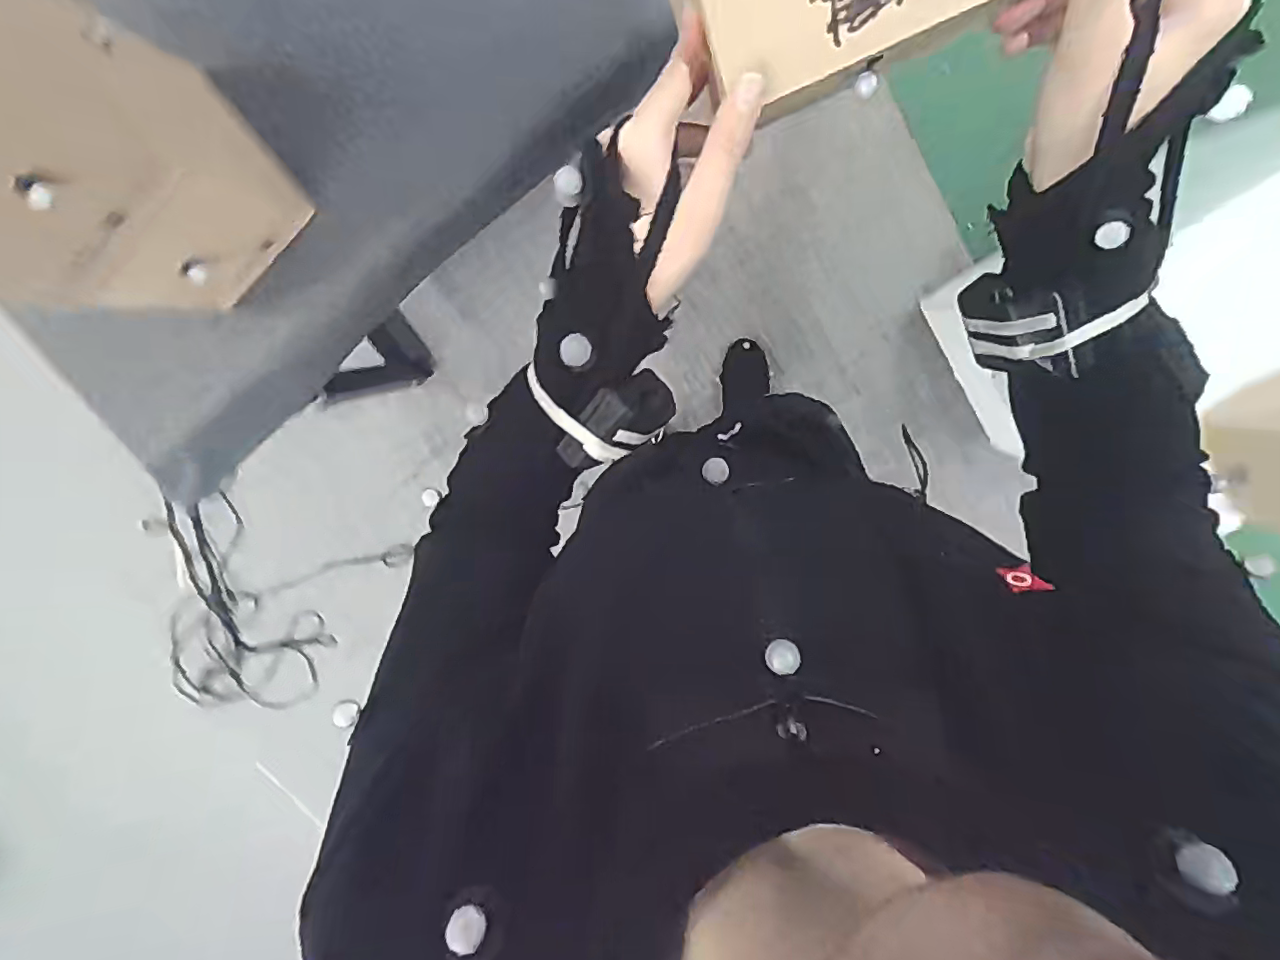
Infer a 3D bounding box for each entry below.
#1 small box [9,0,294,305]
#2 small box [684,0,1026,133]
[{"bbox_3d":[-0.480,-0.286,0.506,0.168,0.176,0.179,-38,100,13],"label":"small box"},{"bbox_3d":[0.097,-0.297,0.255,0.168,0.176,0.179,-17,115,13],"label":"small box"}]
